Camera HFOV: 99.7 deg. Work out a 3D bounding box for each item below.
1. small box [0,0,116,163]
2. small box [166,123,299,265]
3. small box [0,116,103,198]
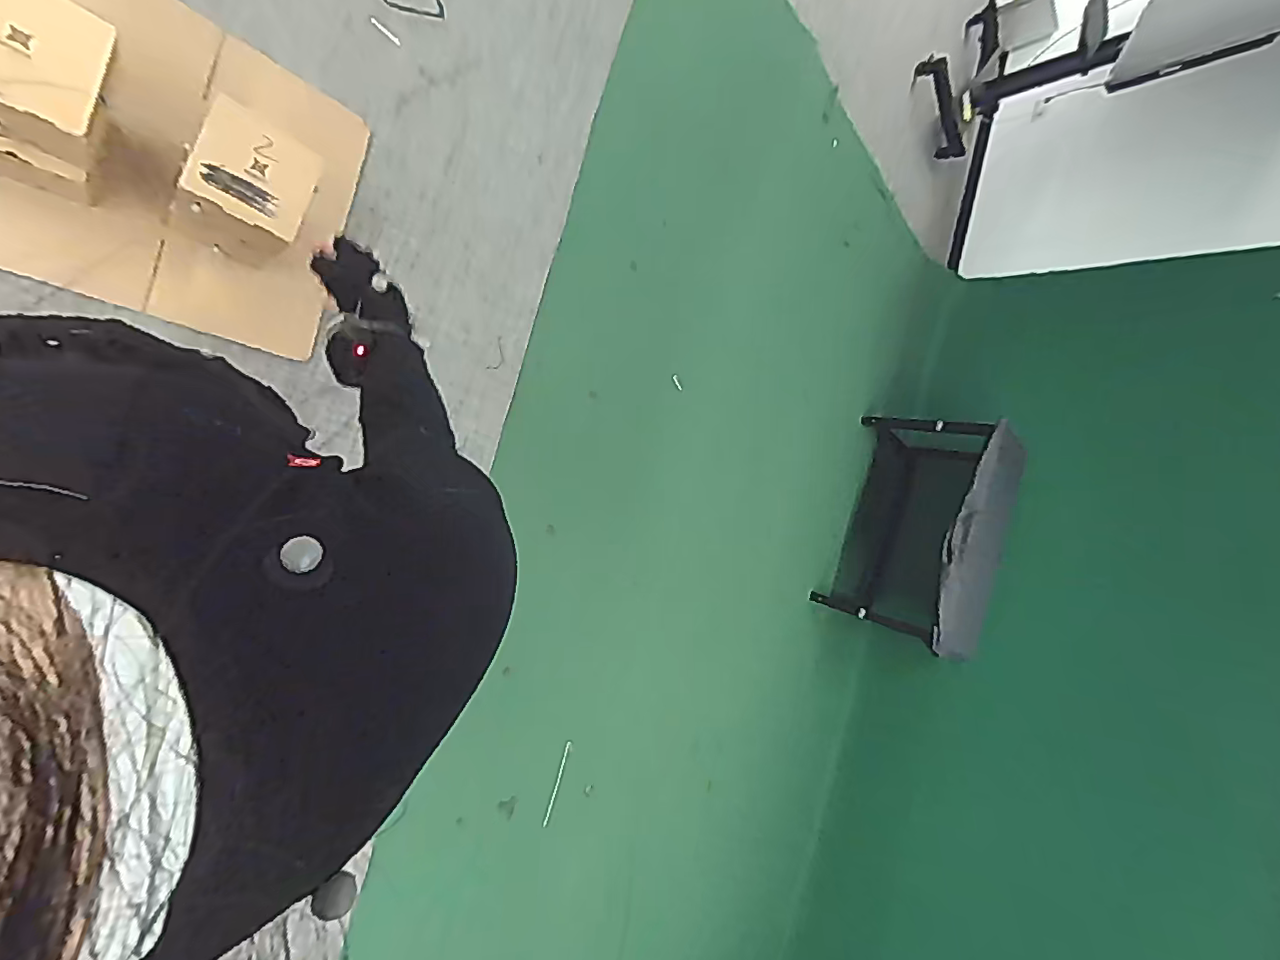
[{"bbox_3d":[-0.899,-0.607,0.784,0.168,0.176,0.179,17,86,-45],"label":"small box"},{"bbox_3d":[-0.827,-0.564,1.093,0.168,0.176,0.179,22,83,-43],"label":"small box"},{"bbox_3d":[-1.021,-0.603,0.896,0.168,0.176,0.179,13,89,-44],"label":"small box"}]
